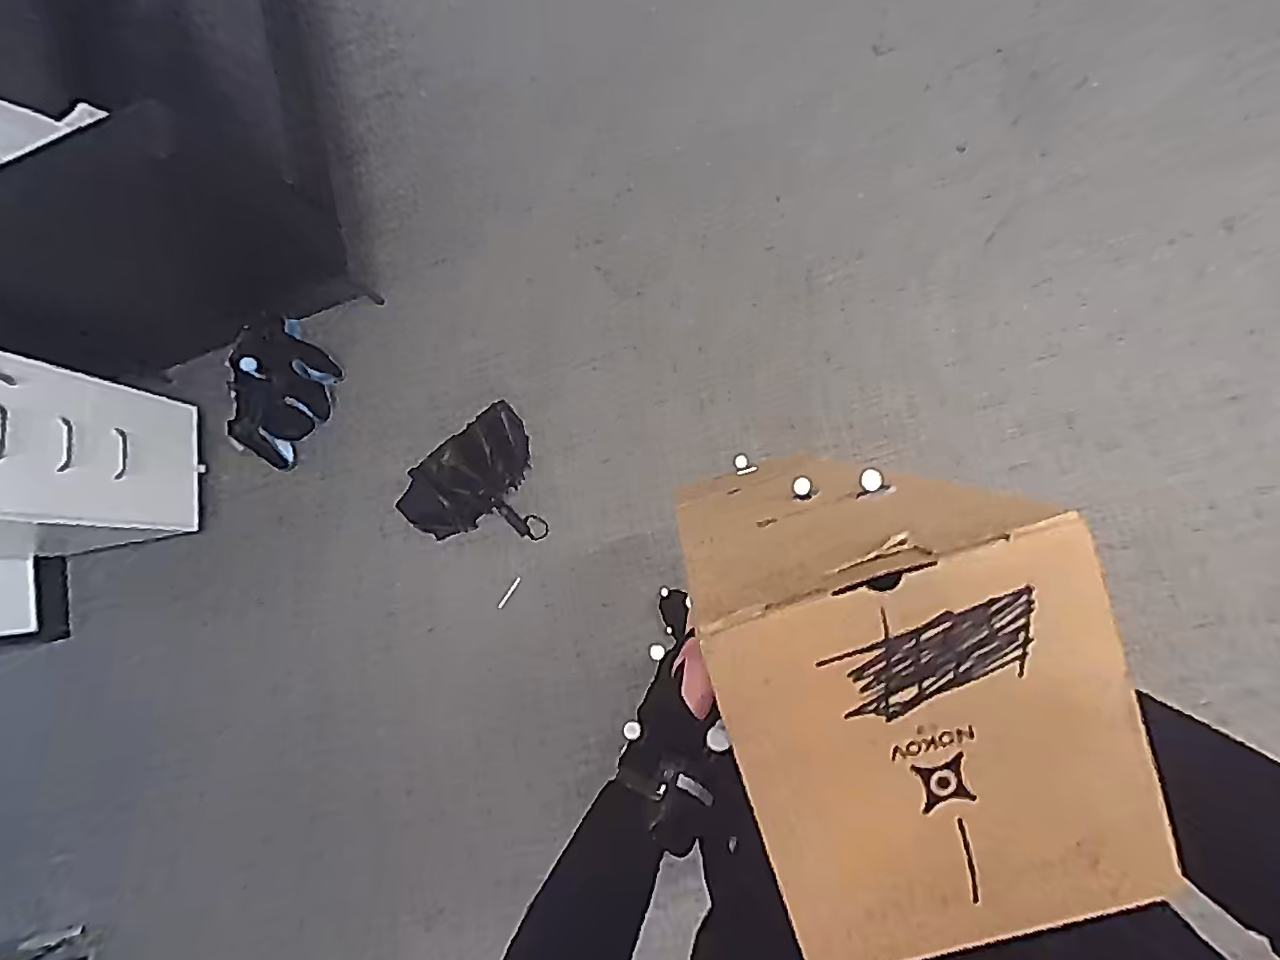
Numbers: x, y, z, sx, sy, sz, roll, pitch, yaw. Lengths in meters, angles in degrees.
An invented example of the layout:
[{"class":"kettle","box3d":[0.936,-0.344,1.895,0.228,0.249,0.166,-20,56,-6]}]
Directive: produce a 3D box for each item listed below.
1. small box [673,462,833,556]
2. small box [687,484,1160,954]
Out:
[{"class":"small box","box3d":[0.144,0.084,0.647,0.168,0.176,0.179,-19,91,4]},{"class":"small box","box3d":[0.130,0.107,0.319,0.168,0.176,0.179,-19,94,5]}]
